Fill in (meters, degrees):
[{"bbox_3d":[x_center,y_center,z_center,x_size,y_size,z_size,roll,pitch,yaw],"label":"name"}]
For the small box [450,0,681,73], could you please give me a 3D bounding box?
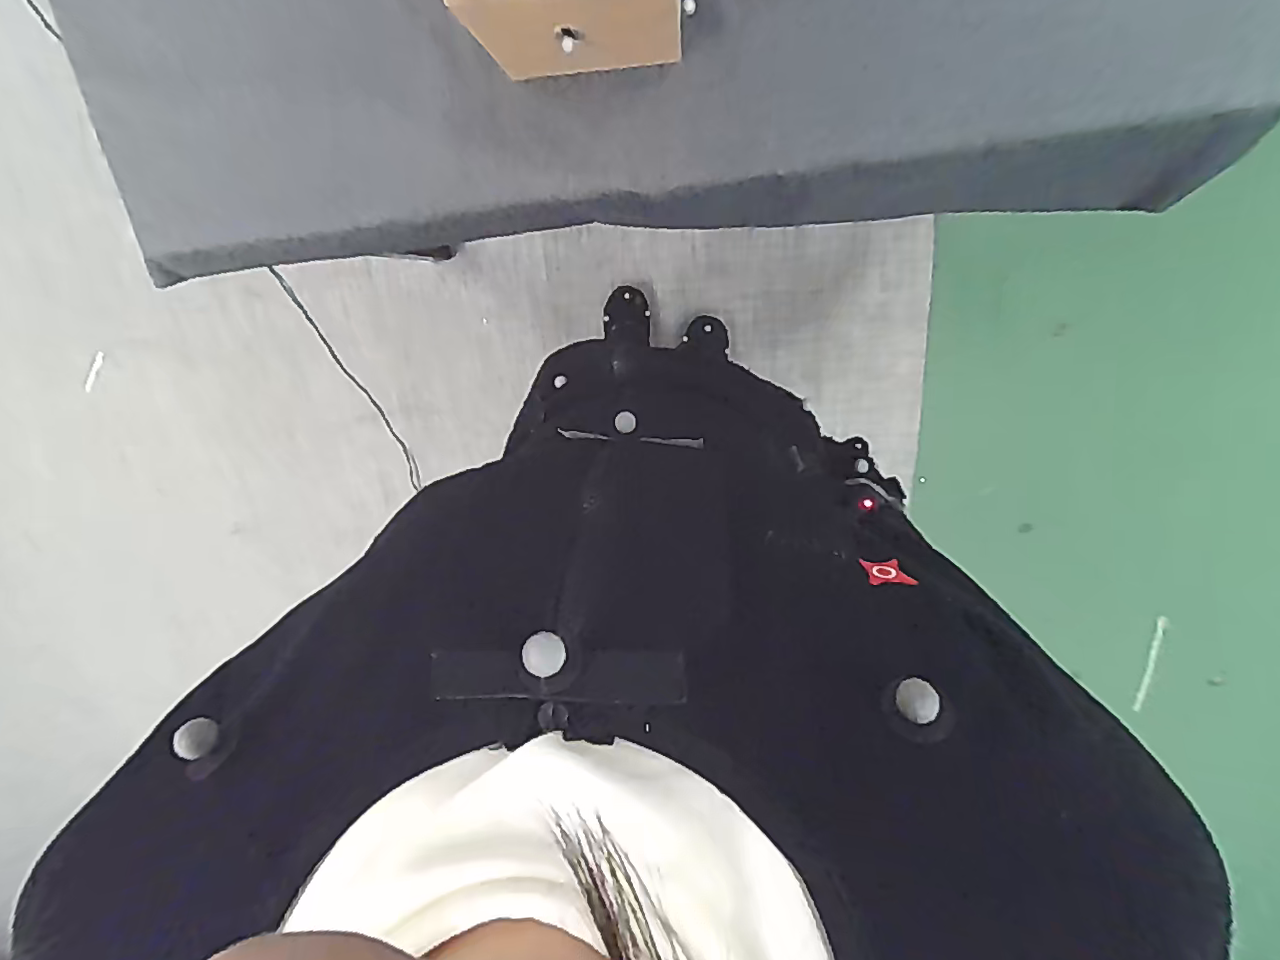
[{"bbox_3d":[-0.056,-0.465,0.442,0.179,0.176,0.168,-1,109,7],"label":"small box"}]
